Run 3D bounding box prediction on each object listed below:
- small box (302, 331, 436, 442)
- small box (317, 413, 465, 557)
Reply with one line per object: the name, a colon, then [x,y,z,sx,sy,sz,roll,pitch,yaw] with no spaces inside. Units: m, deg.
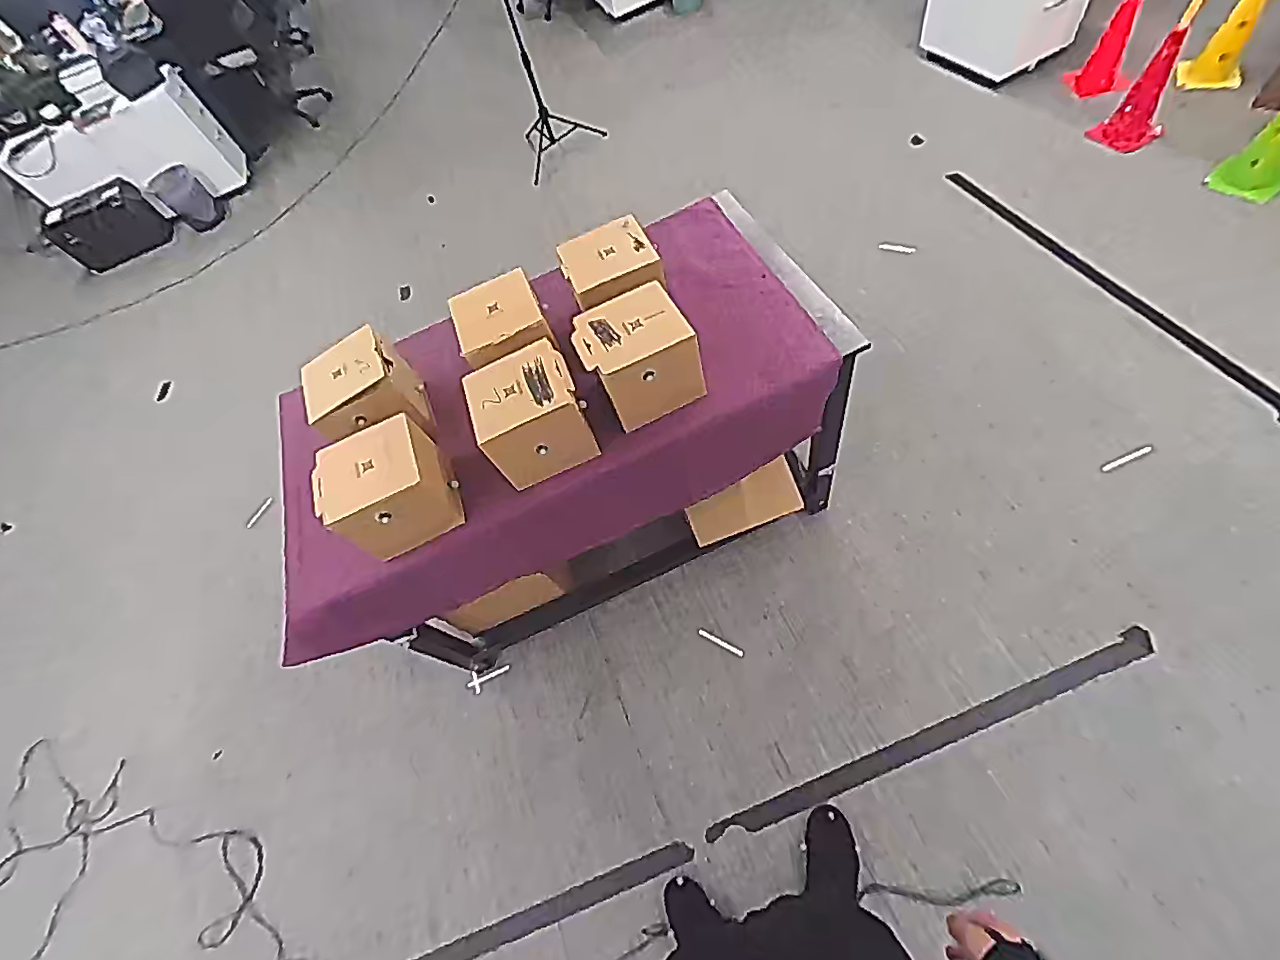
small box: [-0.552,-0.164,1.111,0.179,0.176,0.168,-27,59,-3]
small box: [-0.450,0.016,0.987,0.179,0.176,0.168,-25,59,-2]
